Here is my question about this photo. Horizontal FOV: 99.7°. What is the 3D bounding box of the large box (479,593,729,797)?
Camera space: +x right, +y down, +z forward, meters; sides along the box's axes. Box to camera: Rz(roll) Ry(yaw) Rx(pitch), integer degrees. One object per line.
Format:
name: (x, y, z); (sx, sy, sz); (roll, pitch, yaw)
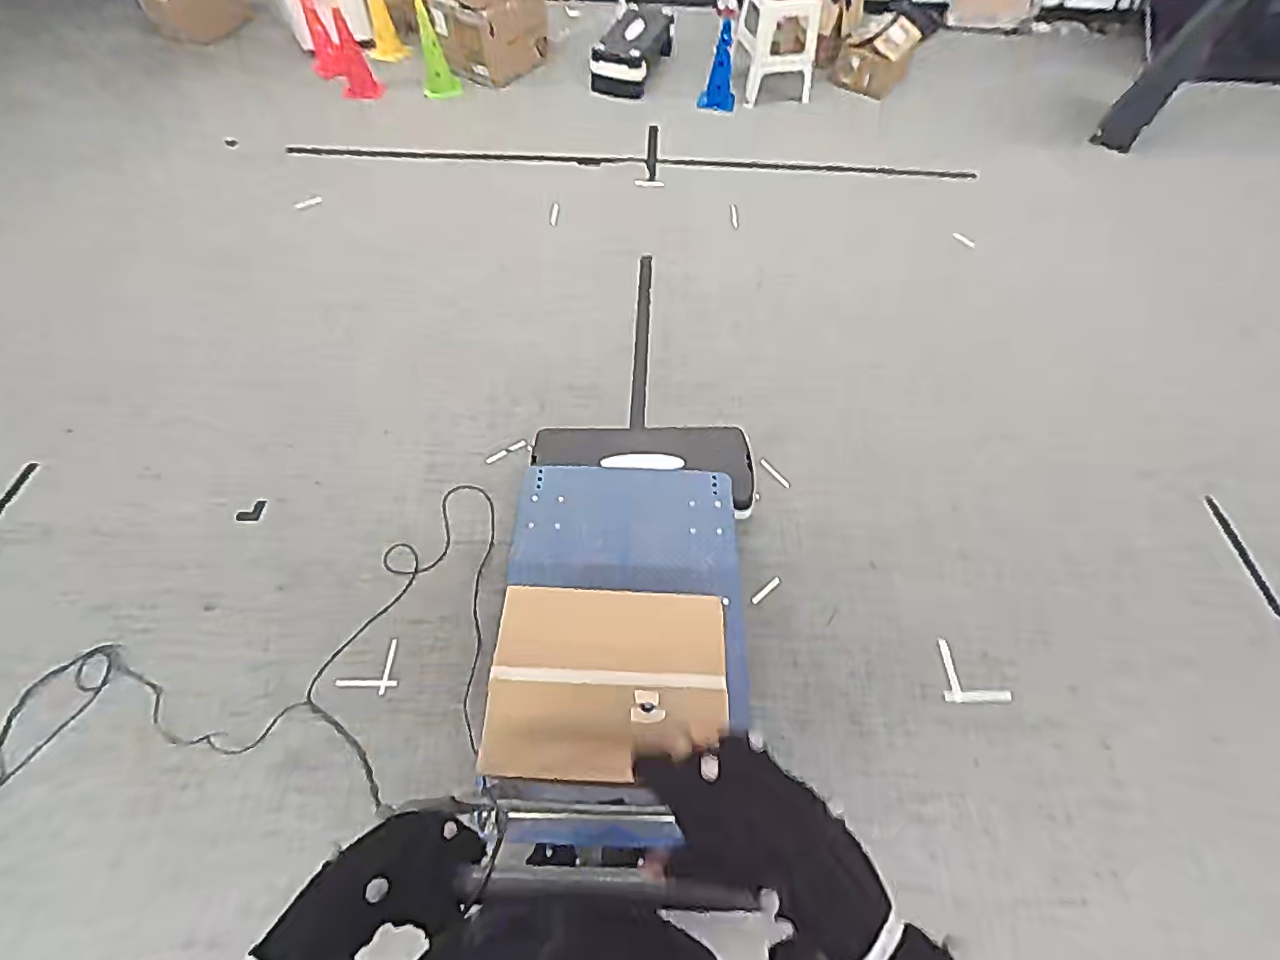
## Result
large box: (-0.061, 0.428, 1.050); (0.408, 0.320, 0.320); (3, 59, -1)
